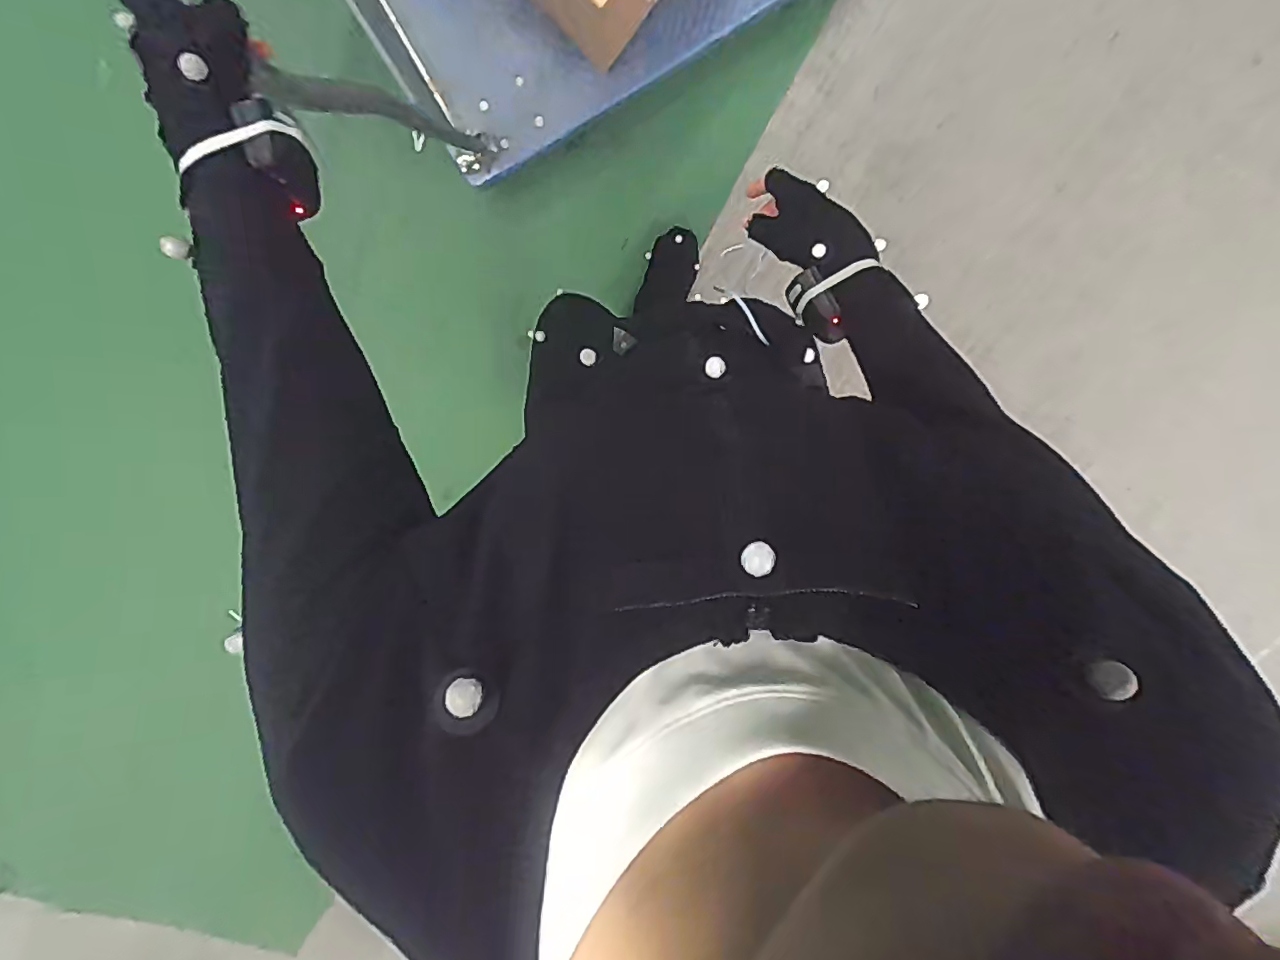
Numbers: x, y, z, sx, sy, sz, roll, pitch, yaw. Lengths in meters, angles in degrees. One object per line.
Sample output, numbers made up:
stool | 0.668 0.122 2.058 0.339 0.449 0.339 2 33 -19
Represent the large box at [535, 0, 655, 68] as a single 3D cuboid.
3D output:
large box | -0.114 -0.923 0.778 0.408 0.320 0.320 38 107 -16
